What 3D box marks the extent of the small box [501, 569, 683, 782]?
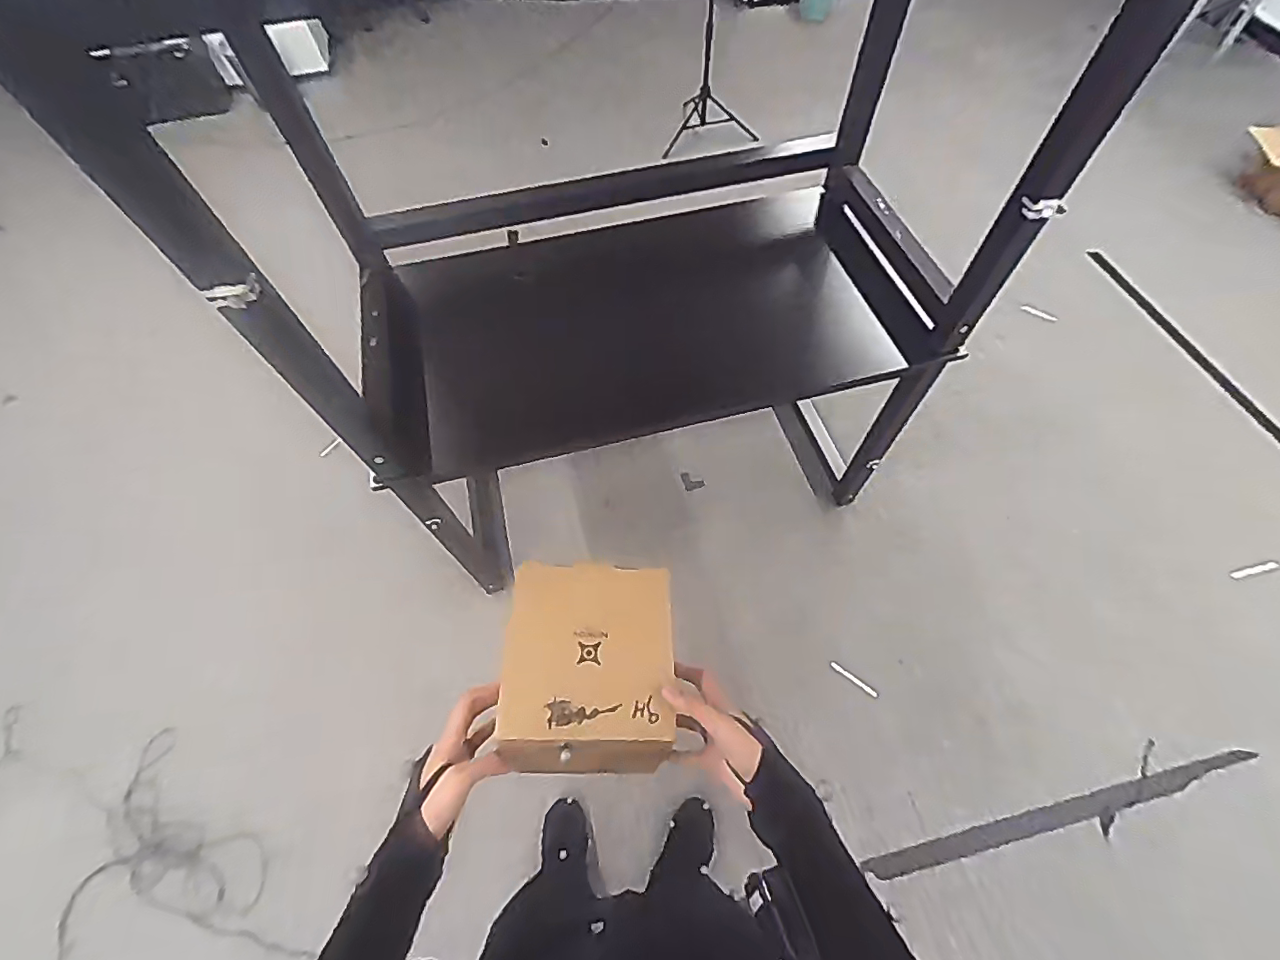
[{"bbox_3d":[-0.049,0.217,0.592,0.168,0.176,0.179,3,53,-4],"label":"small box"}]
